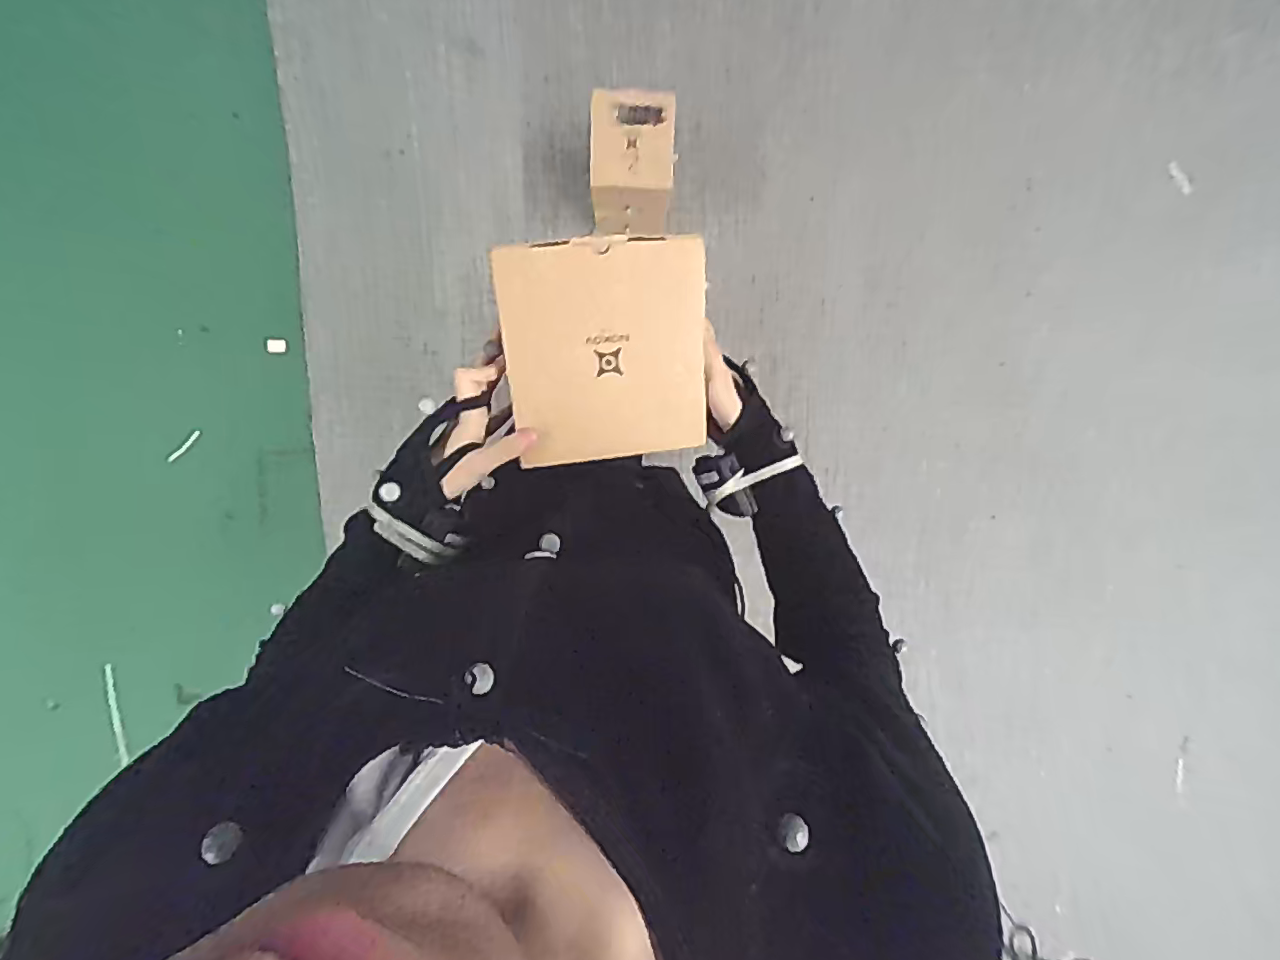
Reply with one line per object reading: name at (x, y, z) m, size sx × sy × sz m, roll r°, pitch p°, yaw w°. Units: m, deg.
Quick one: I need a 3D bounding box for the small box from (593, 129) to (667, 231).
small box at (-0.024, -0.706, 1.290) m, size 0.168 × 0.176 × 0.179 m, roll -1°, pitch 100°, yaw -2°

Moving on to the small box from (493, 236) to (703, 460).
small box at (-0.042, -0.136, 0.521) m, size 0.168 × 0.176 × 0.179 m, roll -8°, pitch 113°, yaw -10°
